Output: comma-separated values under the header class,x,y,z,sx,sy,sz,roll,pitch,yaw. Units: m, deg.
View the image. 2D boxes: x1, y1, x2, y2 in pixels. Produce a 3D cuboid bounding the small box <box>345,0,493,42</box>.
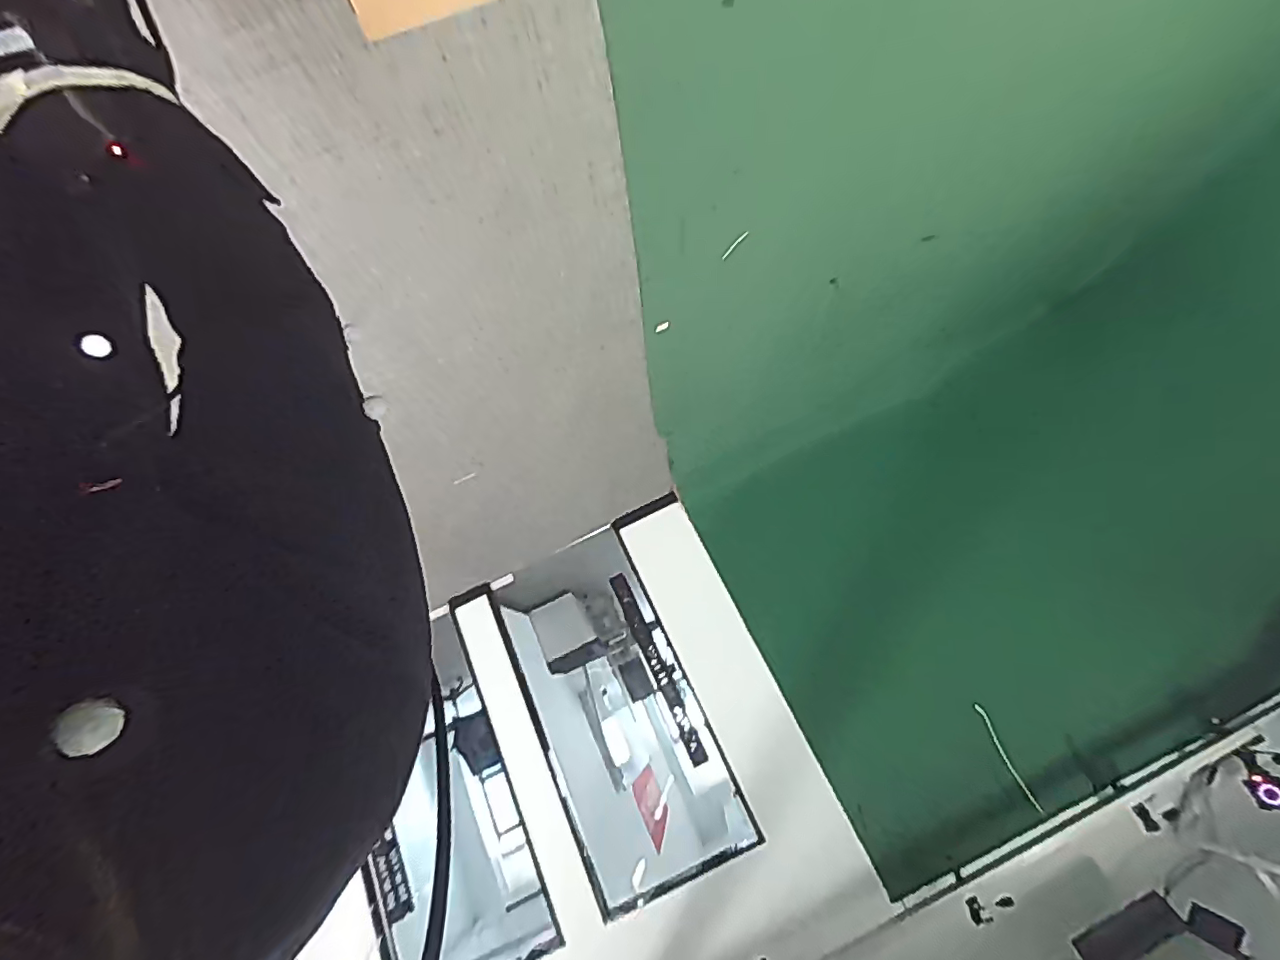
class,x,y,z,sx,sy,sz,roll,pitch,yaw
small box,-0.278,-0.638,0.587,0.179,0.176,0.168,-25,160,-6
